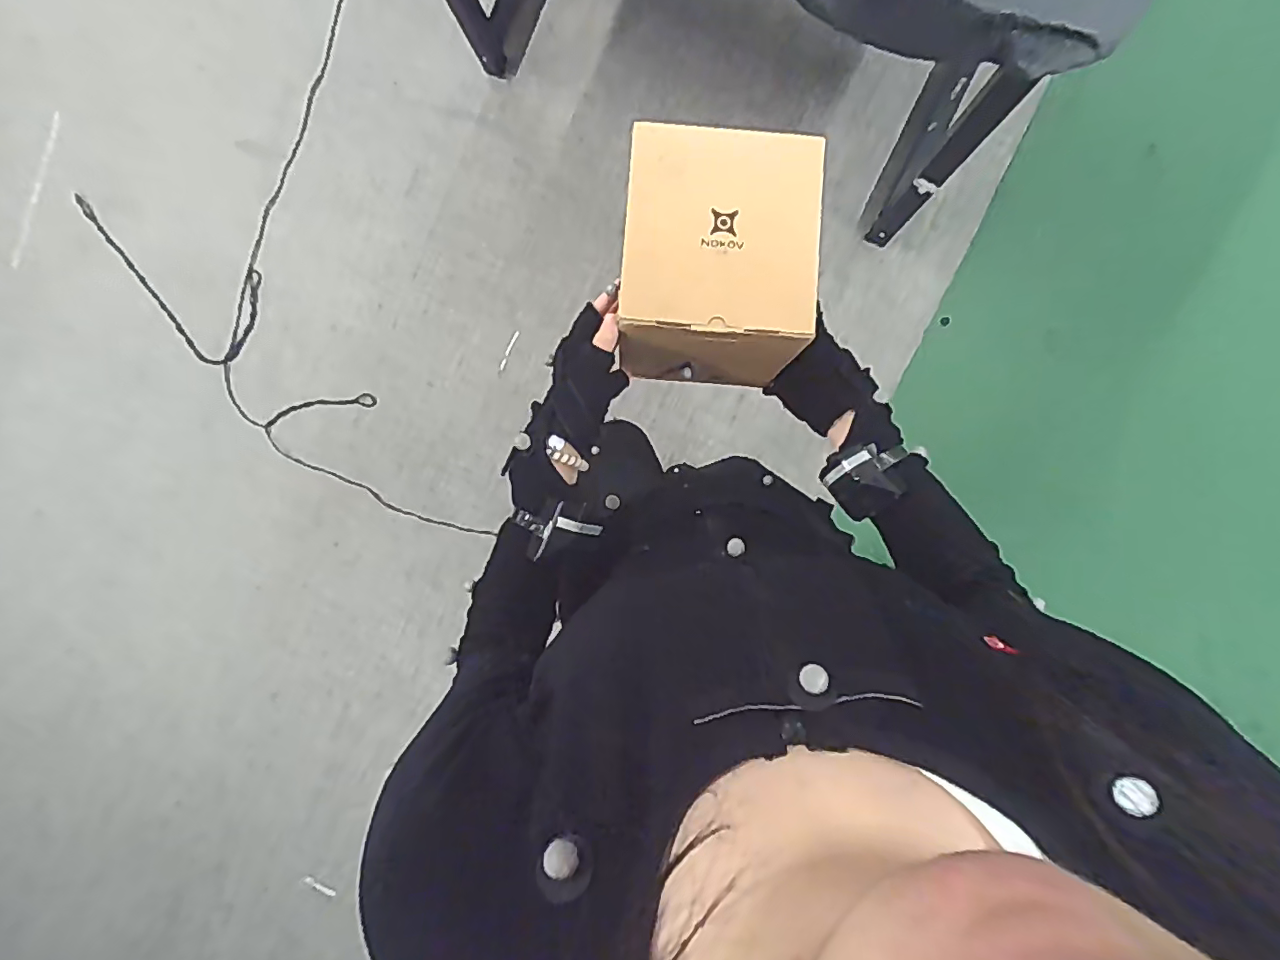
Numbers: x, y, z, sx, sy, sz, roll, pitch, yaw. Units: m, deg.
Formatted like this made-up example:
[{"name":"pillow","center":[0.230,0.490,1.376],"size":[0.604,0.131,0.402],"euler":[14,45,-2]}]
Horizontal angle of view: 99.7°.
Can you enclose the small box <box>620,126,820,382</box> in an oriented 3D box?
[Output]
[{"name":"small box","center":[0.068,-0.209,0.545],"size":[0.168,0.176,0.179],"euler":[4,87,-1]}]
